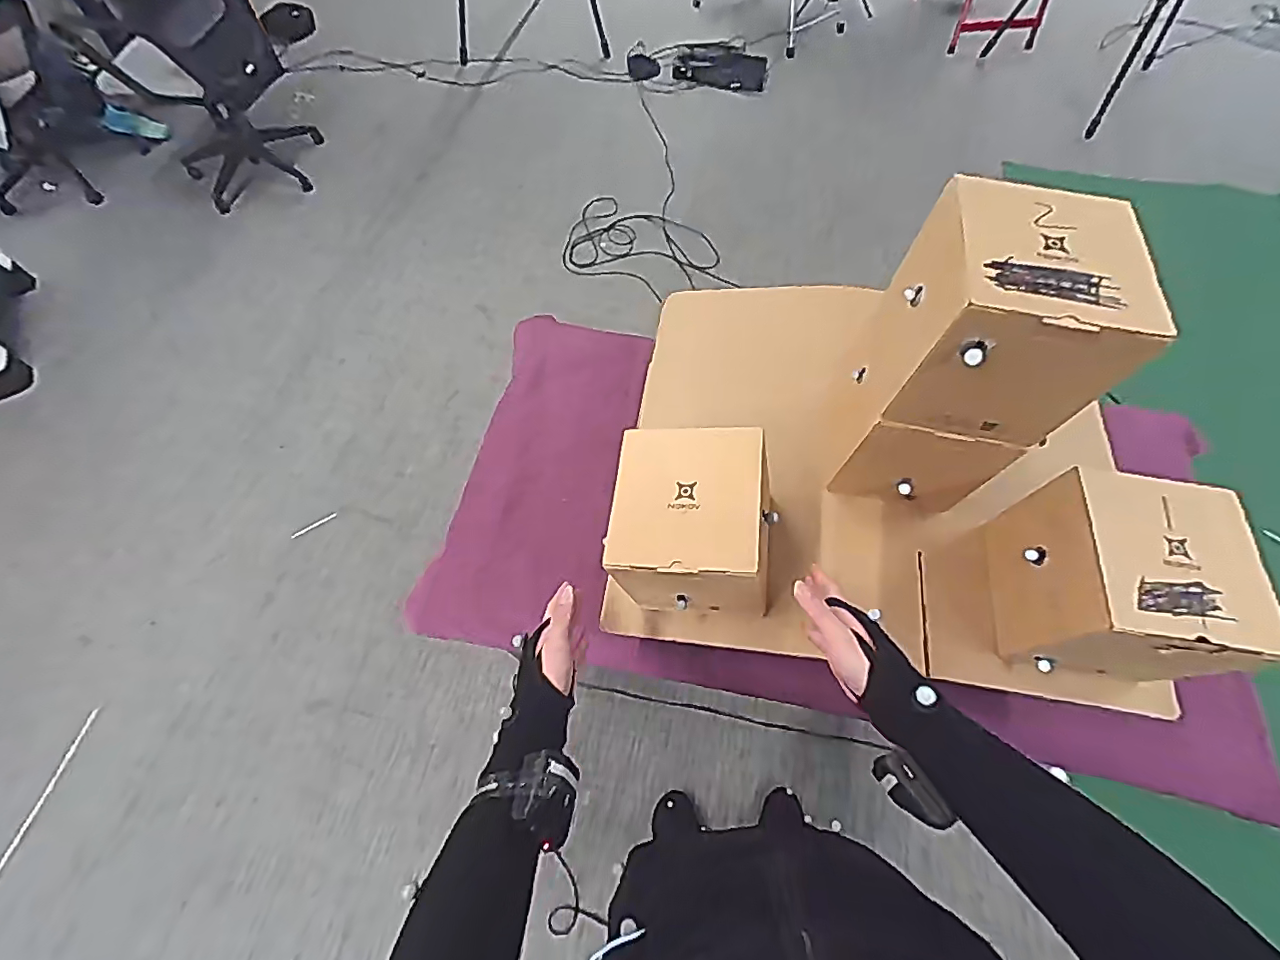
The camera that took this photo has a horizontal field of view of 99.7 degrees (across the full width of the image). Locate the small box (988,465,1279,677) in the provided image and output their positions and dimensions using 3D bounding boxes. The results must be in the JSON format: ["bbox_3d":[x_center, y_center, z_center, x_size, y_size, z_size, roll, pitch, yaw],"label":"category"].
[{"bbox_3d":[0.521,0.109,0.597,0.168,0.176,0.179,10,63,2],"label":"small box"}]

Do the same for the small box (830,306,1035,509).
[{"bbox_3d":[0.350,-0.086,0.686,0.168,0.176,0.179,10,63,3],"label":"small box"}]

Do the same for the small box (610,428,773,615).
[{"bbox_3d":[0.074,0.054,0.659,0.168,0.176,0.179,0,64,15],"label":"small box"}]
